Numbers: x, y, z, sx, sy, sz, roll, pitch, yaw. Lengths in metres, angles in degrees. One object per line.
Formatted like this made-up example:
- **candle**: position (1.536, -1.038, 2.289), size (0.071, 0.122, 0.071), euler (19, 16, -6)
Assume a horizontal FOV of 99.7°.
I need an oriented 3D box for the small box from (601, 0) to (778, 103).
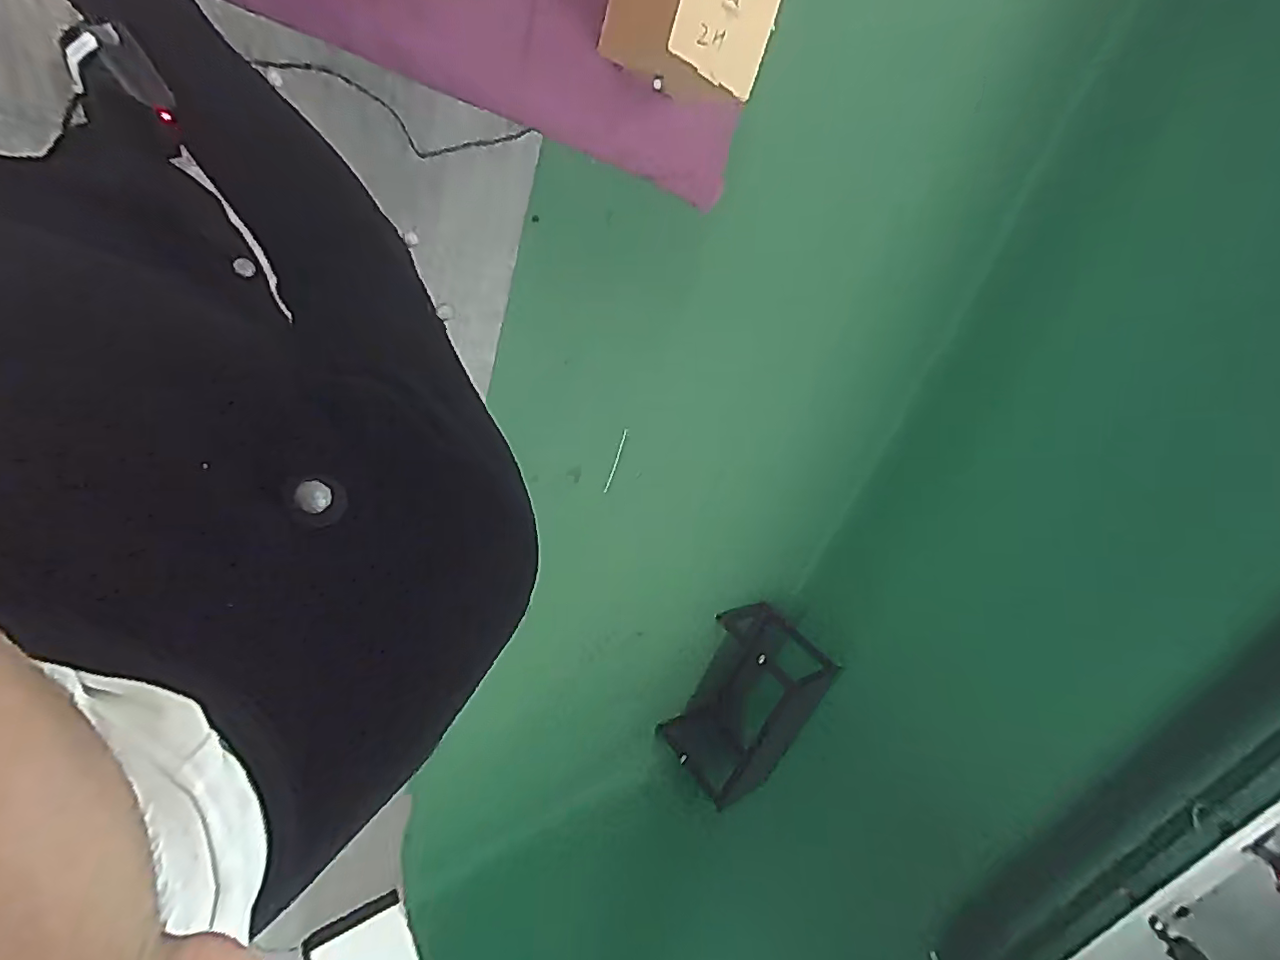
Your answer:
- **small box**: position (0.068, -0.663, 0.755), size (0.168, 0.176, 0.179), euler (-2, 121, -41)
